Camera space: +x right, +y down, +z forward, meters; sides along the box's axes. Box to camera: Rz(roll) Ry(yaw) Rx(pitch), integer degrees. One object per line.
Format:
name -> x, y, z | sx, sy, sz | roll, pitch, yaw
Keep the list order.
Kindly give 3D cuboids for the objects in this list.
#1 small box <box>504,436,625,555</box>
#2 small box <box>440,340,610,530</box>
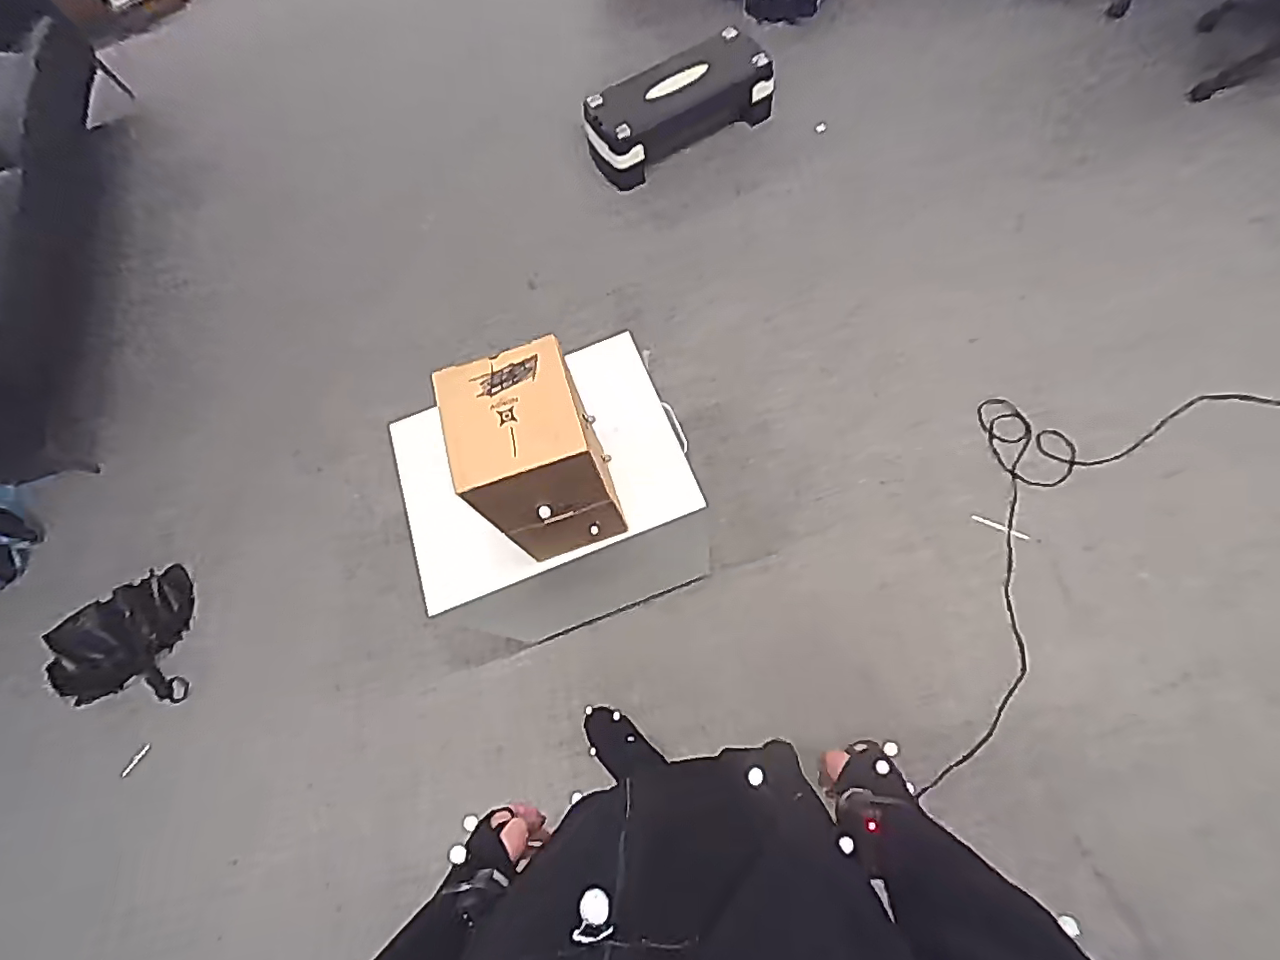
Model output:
small box -> -0.131, 0.011, 0.885 | 0.168, 0.176, 0.179 | -18, 65, -1
small box -> -0.149, -0.053, 0.735 | 0.168, 0.176, 0.179 | -18, 67, 0
